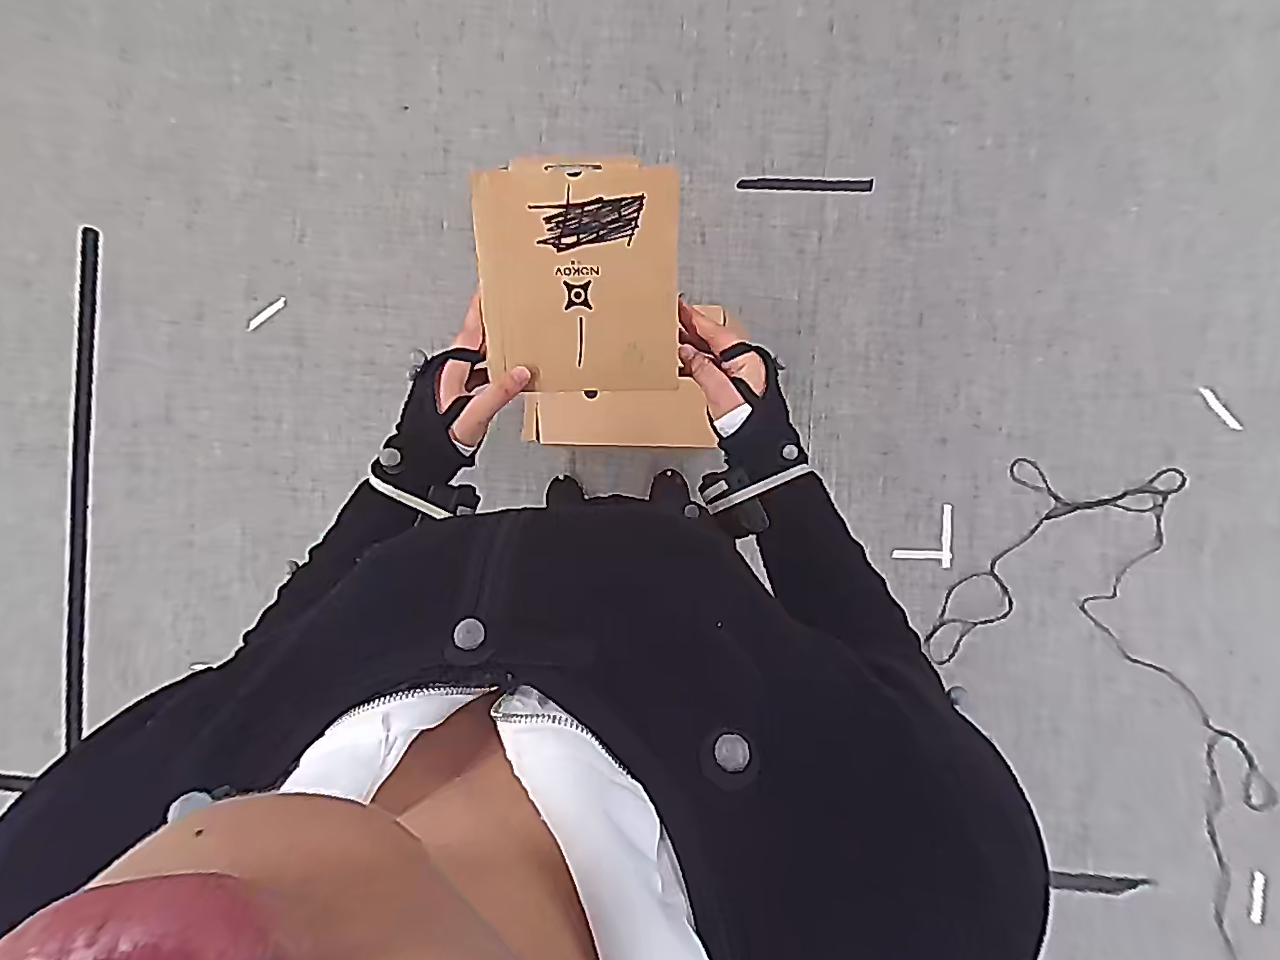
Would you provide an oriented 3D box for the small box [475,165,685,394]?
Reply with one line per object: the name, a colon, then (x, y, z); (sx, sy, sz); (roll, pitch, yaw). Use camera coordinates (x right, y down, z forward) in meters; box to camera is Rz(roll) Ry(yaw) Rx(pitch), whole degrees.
small box: (-0.047, -0.176, 0.513); (0.168, 0.176, 0.179); (0, 105, 1)
